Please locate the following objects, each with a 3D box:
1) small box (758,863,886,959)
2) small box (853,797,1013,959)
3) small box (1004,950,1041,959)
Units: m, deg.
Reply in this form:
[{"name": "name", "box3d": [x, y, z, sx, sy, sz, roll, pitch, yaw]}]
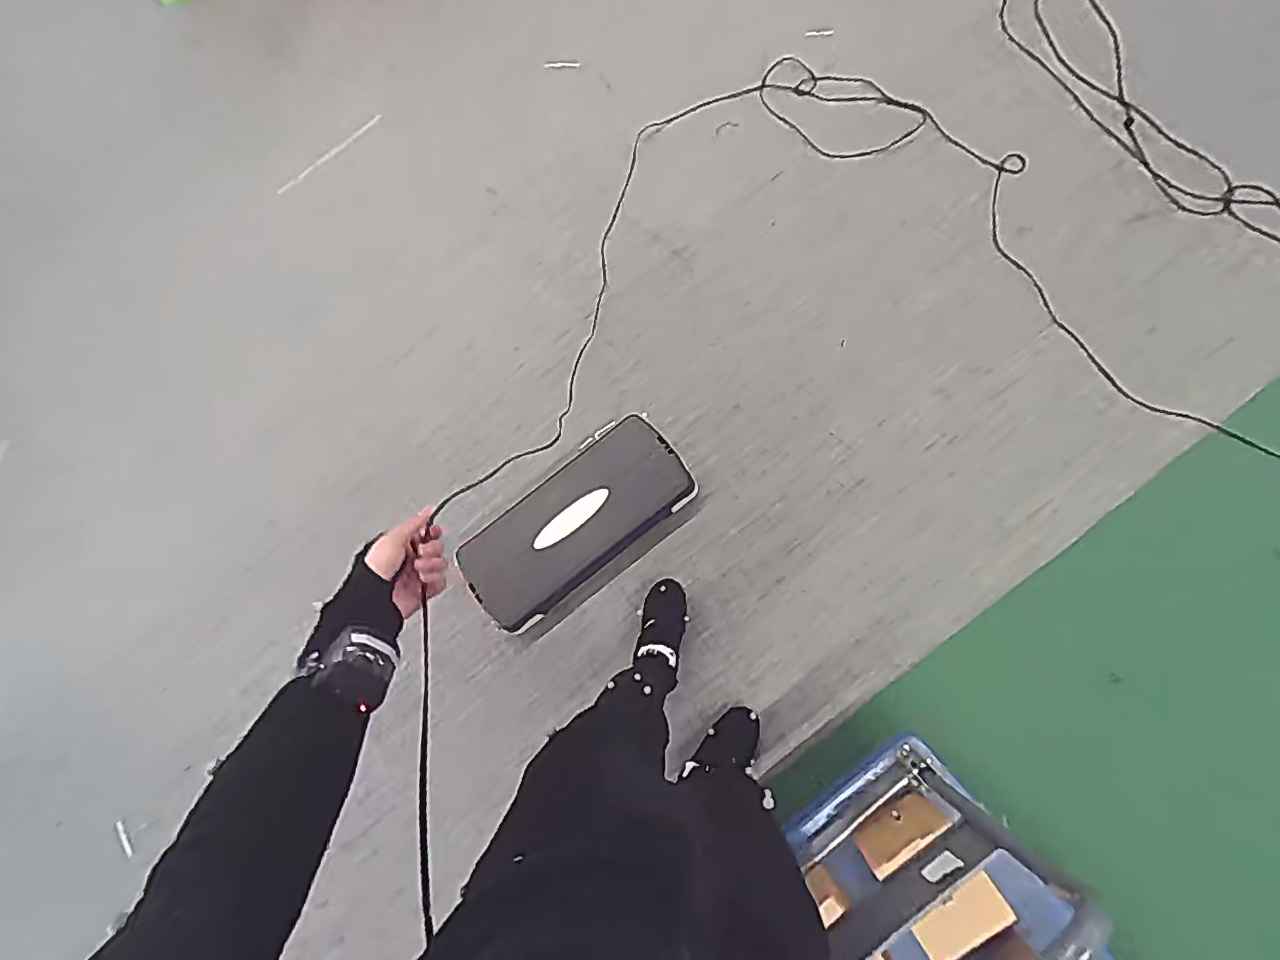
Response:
[{"name": "small box", "box3d": [0.334, 0.869, 1.004, 0.179, 0.176, 0.168, -42, 74, -2]}, {"name": "small box", "box3d": [0.532, 0.739, 1.010, 0.168, 0.176, 0.179, -33, 74, 0]}, {"name": "small box", "box3d": [0.715, 0.968, 0.928, 0.179, 0.176, 0.168, 41, 86, 15]}]
